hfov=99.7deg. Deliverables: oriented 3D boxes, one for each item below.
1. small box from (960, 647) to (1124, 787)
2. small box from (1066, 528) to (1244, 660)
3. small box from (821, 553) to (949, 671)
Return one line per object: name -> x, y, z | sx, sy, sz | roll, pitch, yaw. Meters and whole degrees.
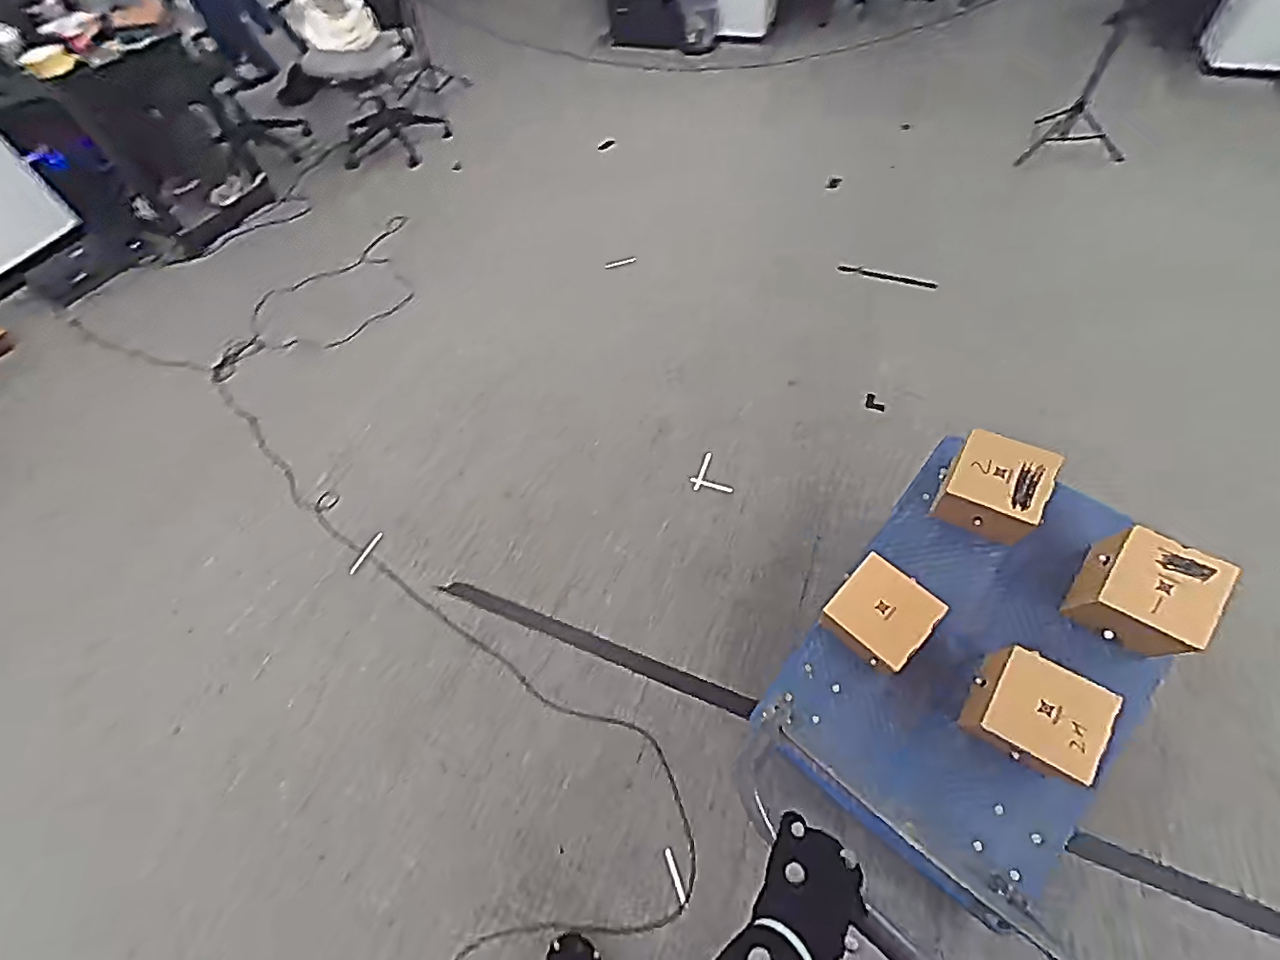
small box -> 0.738, 0.441, 1.017 | 0.179, 0.176, 0.168 | 28, 78, 24
small box -> 0.973, 0.224, 1.042 | 0.168, 0.176, 0.179 | 31, 80, 25
small box -> 0.506, 0.288, 1.148 | 0.179, 0.176, 0.168 | 41, 83, 25
